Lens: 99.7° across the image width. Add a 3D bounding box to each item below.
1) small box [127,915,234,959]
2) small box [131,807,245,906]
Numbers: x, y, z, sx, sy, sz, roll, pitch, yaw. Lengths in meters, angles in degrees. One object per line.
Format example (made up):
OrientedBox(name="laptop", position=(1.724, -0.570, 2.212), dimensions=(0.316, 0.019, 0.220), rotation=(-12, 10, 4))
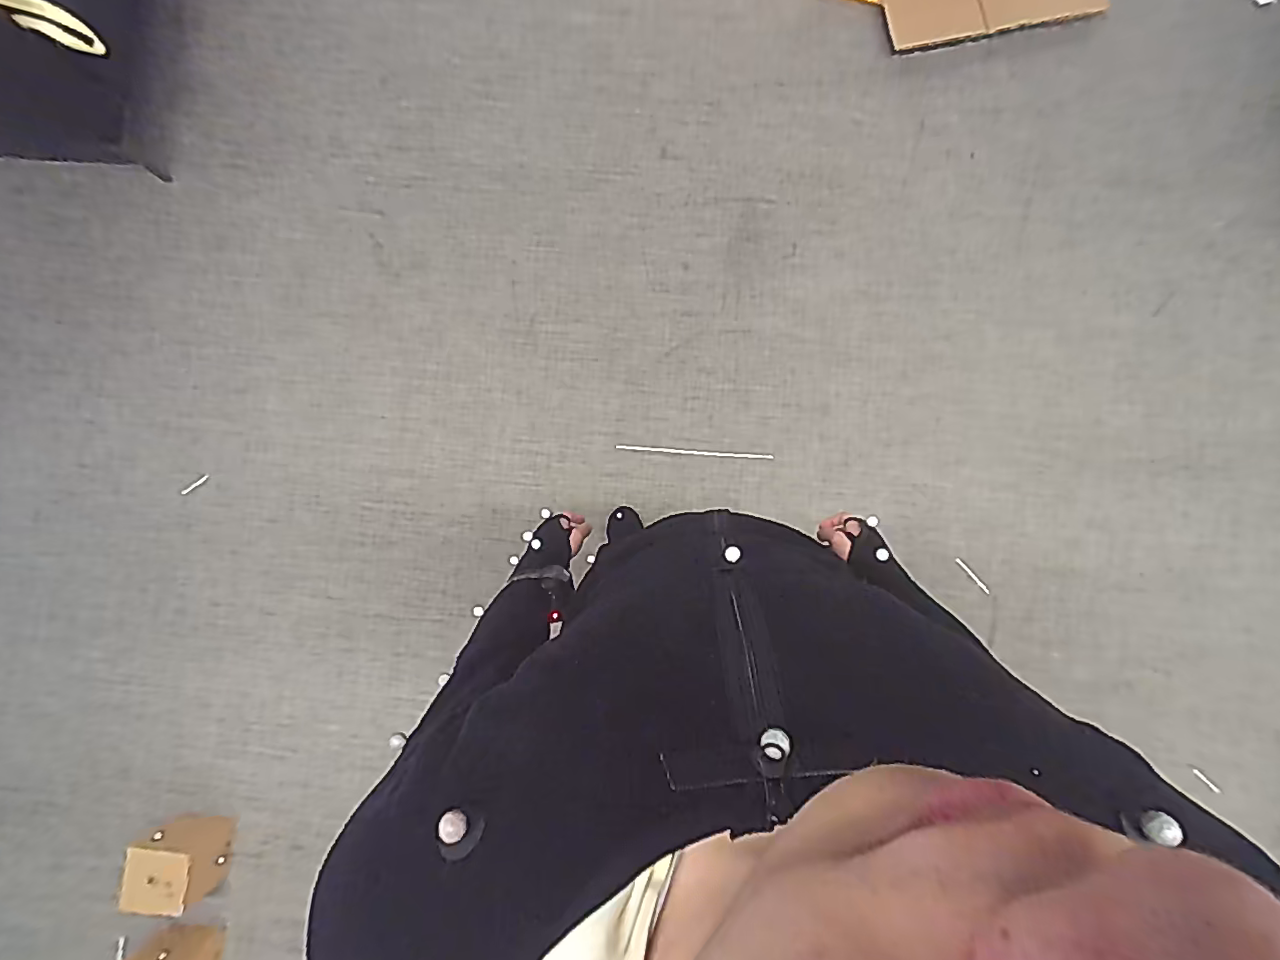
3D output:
OrientedBox(name="small box", position=(-1.316, 1.390, 1.544), dimensions=(0.179, 0.176, 0.168), rotation=(3, 87, 1))
OrientedBox(name="small box", position=(-1.298, 1.077, 1.561), dimensions=(0.179, 0.176, 0.168), rotation=(6, 87, 2))
